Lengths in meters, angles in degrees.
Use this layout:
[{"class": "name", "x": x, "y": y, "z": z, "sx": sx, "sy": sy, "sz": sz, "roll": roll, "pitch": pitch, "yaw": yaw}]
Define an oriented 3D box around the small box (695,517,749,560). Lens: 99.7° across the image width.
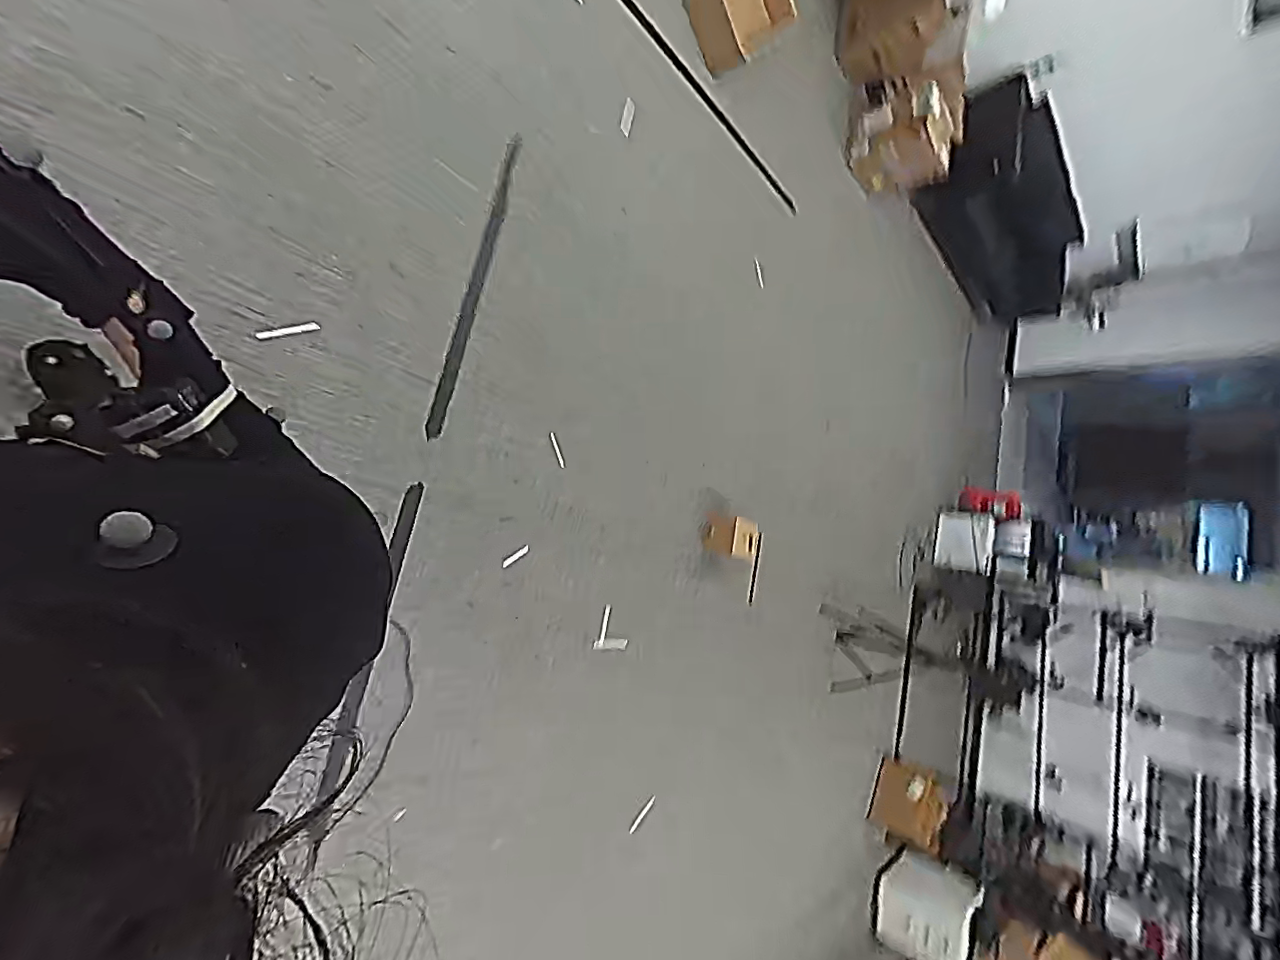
[{"class": "small box", "x": 0.384, "y": 0.271, "z": 2.528, "sx": 0.179, "sy": 0.176, "sz": 0.168, "roll": 20, "pitch": 77, "yaw": -43}]
